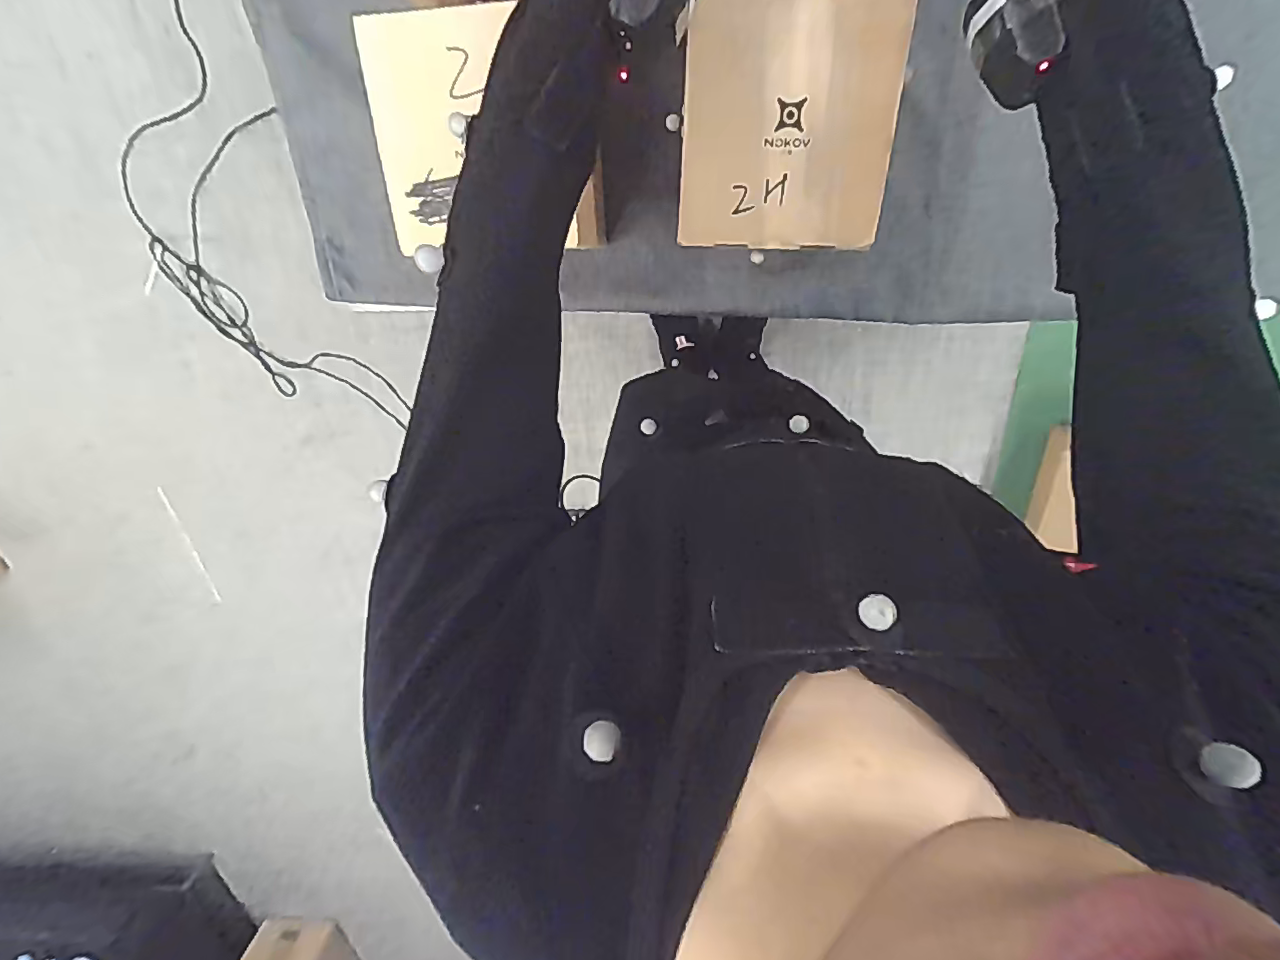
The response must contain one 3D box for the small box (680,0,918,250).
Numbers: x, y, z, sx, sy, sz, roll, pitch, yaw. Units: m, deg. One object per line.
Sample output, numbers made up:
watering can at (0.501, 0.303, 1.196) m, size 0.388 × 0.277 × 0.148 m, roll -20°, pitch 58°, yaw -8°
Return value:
small box at (0.124, -0.311, 0.499) m, size 0.168 × 0.176 × 0.179 m, roll 3°, pitch 115°, yaw 4°
